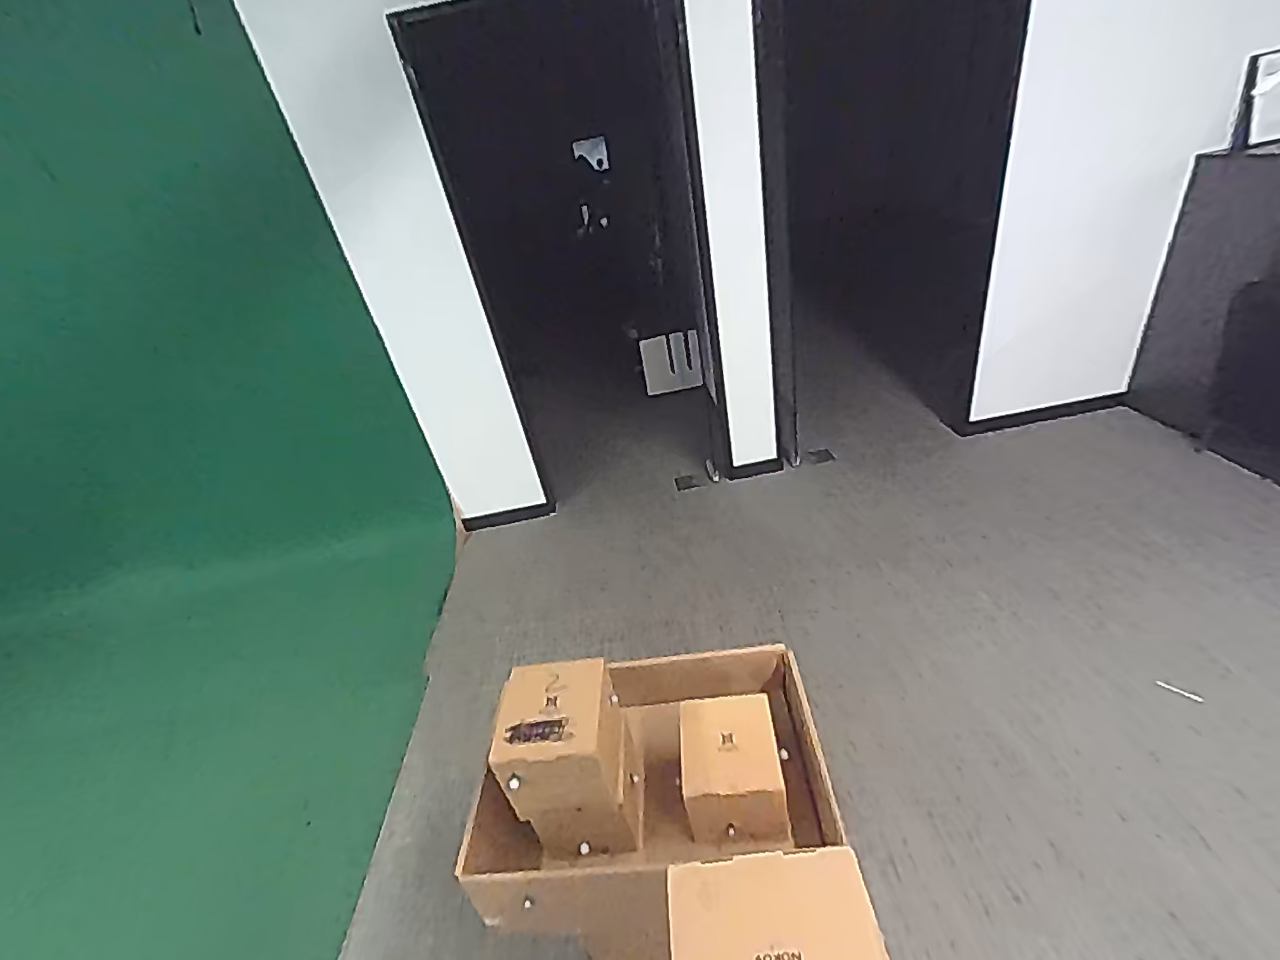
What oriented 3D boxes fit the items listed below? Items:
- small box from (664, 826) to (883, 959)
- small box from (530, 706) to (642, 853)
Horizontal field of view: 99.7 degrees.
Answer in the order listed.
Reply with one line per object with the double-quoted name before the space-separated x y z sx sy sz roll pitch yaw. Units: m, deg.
"small box" 0.115 0.433 0.459 0.168 0.176 0.179 -10 33 5
"small box" -0.092 0.555 1.006 0.168 0.176 0.179 -10 32 5
